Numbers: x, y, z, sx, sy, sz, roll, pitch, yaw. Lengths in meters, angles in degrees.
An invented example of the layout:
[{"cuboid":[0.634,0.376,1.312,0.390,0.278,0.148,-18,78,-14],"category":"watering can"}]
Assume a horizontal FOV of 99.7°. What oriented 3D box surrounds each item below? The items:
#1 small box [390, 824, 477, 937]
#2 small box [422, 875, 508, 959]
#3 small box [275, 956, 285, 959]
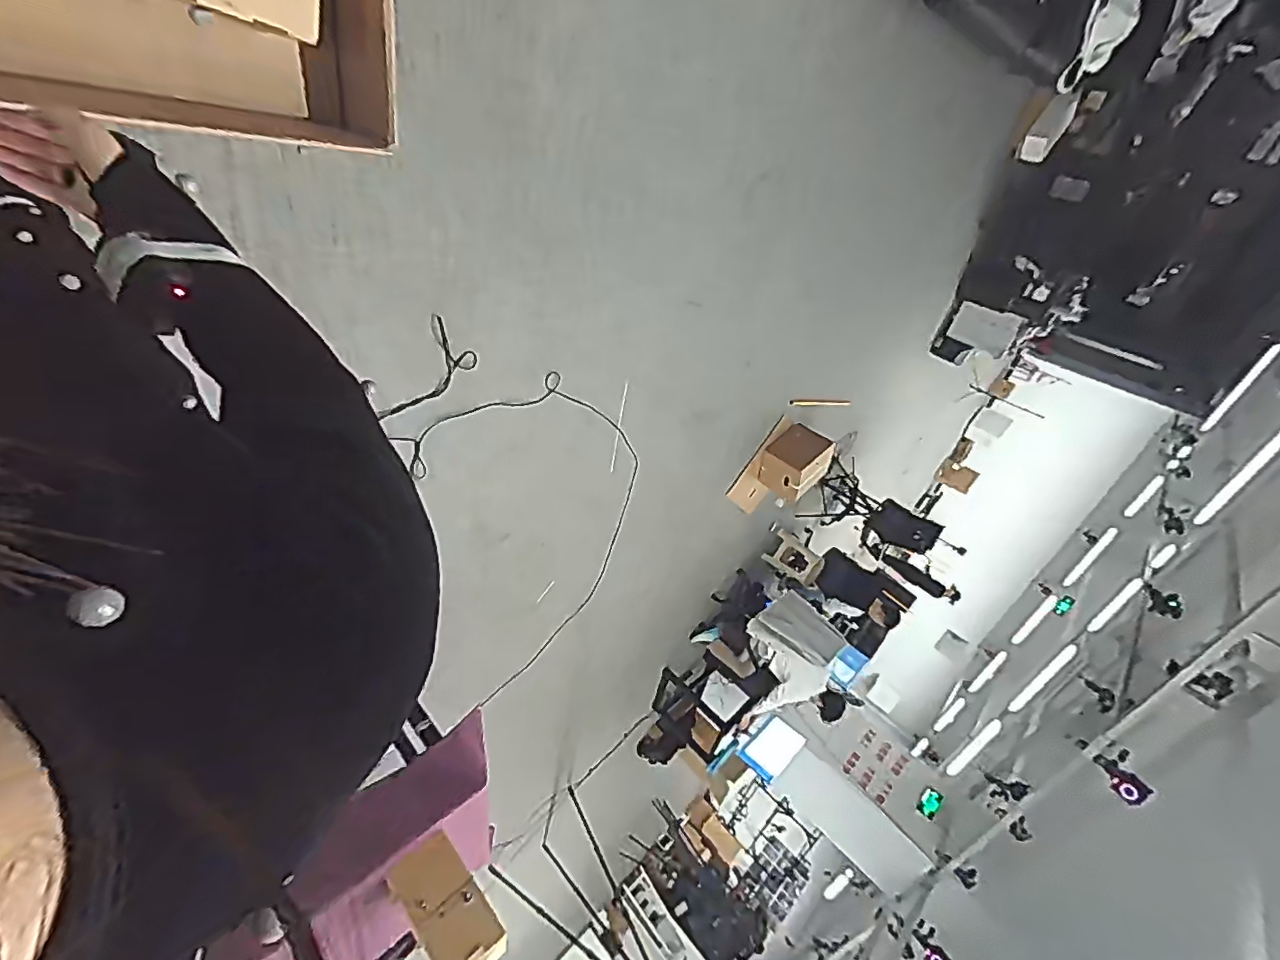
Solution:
[{"cuboid":[-0.590,1.142,1.554,0.179,0.176,0.168,-25,140,-38],"category":"small box"},{"cuboid":[-0.477,1.229,1.473,0.168,0.176,0.179,-25,141,-38],"category":"small box"},{"cuboid":[-0.895,1.286,1.271,0.179,0.176,0.168,-24,139,-41],"category":"small box"}]
